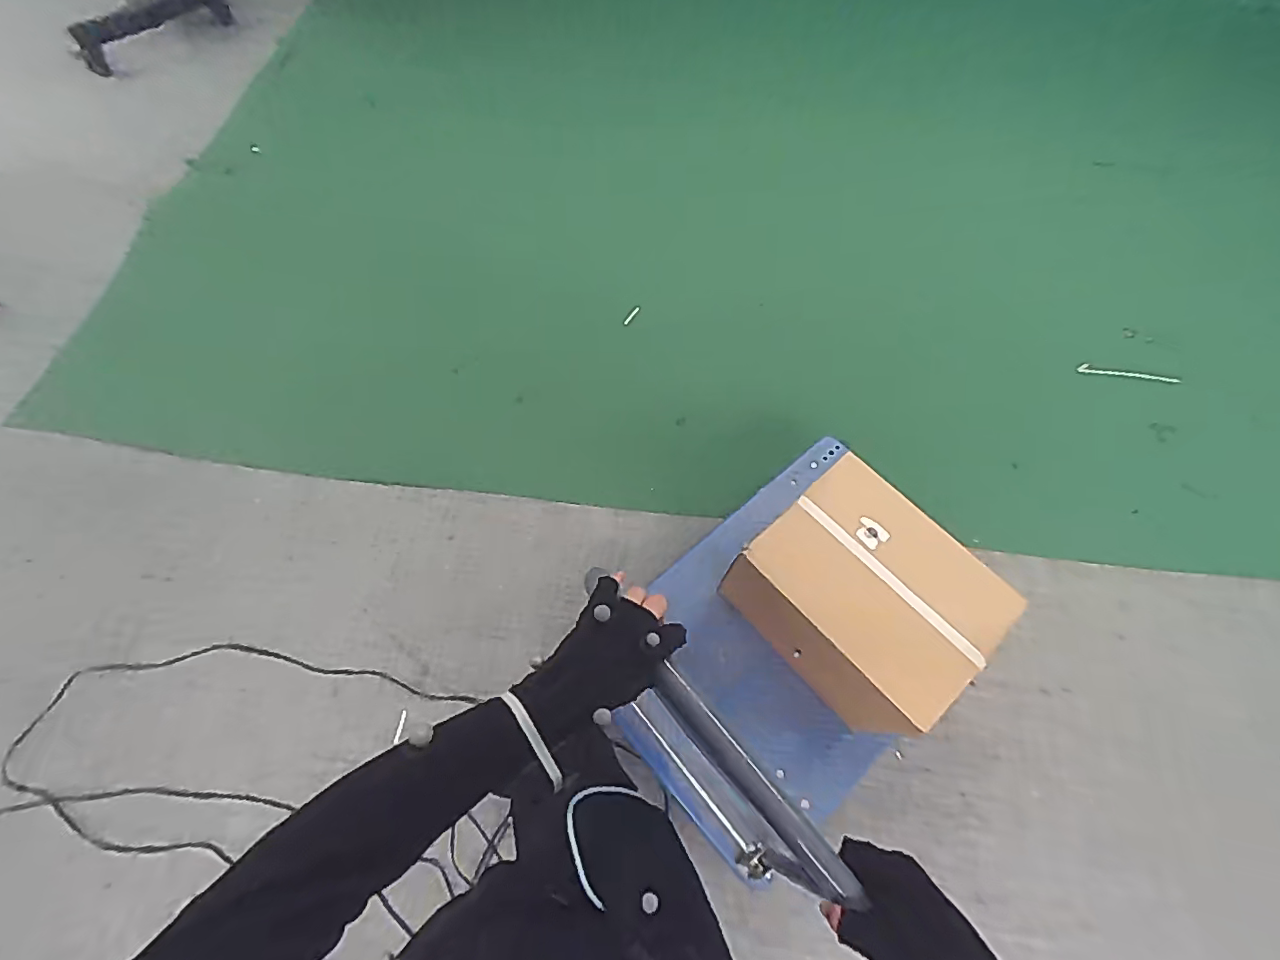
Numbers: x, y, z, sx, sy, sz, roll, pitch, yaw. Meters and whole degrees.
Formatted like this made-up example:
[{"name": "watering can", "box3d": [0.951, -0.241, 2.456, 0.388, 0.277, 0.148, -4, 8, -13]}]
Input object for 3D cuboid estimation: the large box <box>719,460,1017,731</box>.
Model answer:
[{"name": "large box", "box3d": [0.423, 0.244, 1.105, 0.320, 0.320, 0.408, -39, 71, -18]}]
